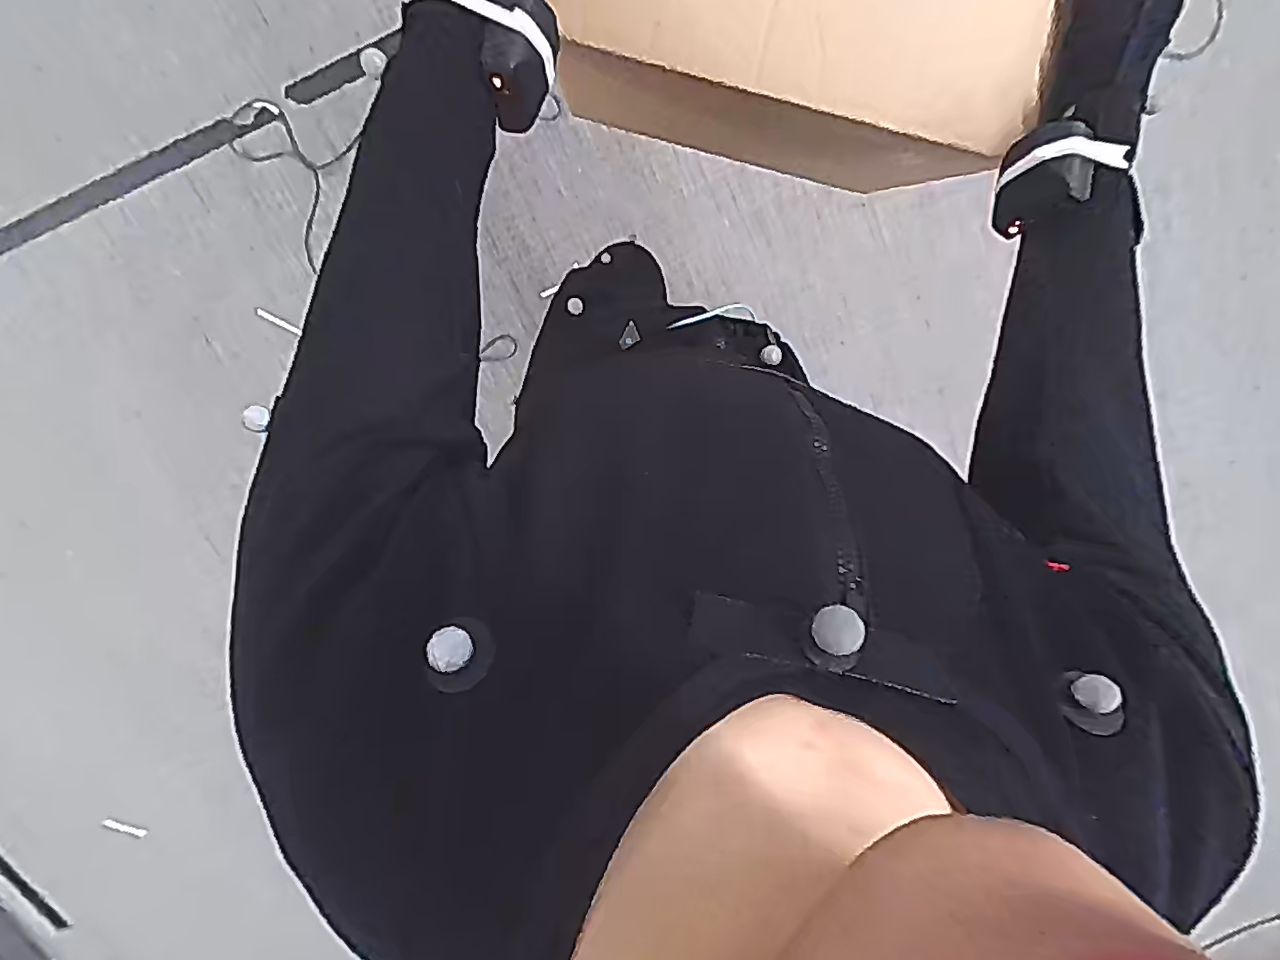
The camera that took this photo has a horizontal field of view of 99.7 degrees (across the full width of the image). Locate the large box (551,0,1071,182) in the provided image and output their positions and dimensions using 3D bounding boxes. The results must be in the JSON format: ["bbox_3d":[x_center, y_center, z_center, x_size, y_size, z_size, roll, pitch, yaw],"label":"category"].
[{"bbox_3d":[0.143,-0.508,0.515,0.408,0.320,0.320,10,115,-8],"label":"large box"}]
